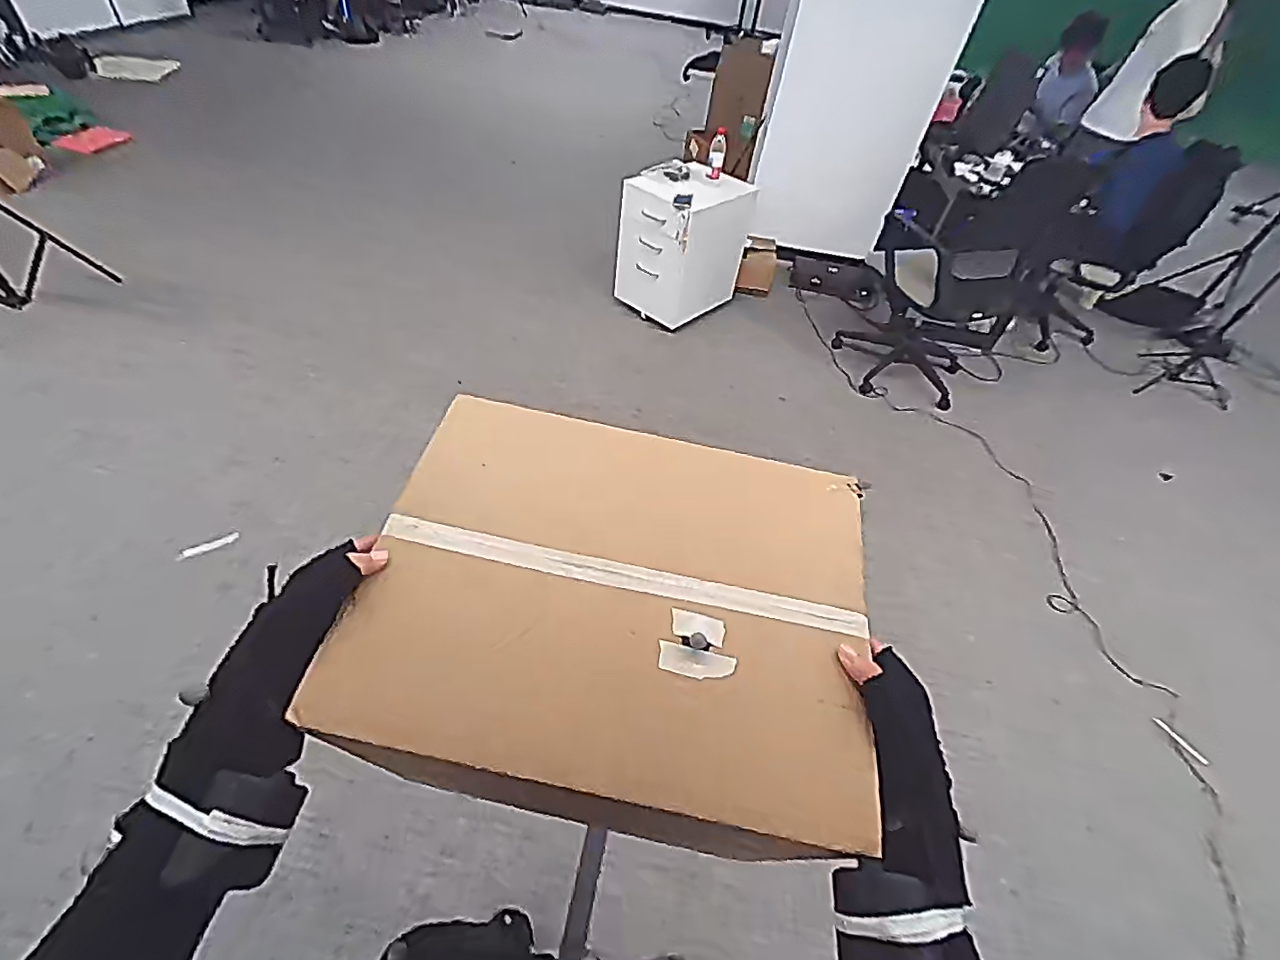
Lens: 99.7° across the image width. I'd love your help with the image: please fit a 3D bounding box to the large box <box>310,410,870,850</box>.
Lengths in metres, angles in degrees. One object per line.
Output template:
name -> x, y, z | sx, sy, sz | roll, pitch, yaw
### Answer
large box -> -0.029, 0.172, 0.577 | 0.408, 0.320, 0.320 | 12, 55, 1
